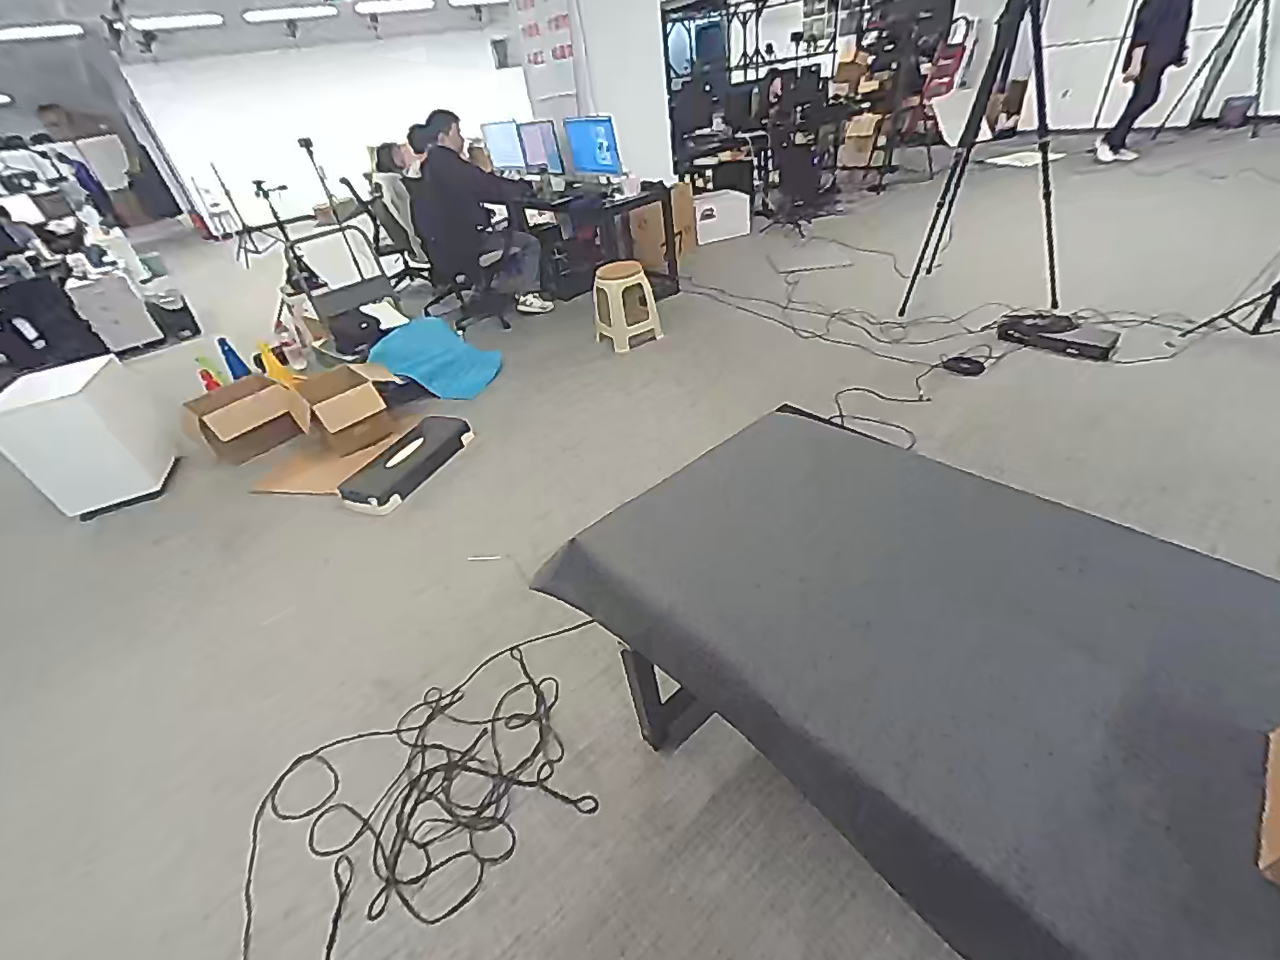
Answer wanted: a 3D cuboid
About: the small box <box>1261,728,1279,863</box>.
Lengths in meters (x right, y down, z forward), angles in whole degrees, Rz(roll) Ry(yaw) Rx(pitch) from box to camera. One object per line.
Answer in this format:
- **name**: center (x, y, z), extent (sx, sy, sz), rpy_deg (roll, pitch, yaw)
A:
- **small box**: center (0.674, 0.281, 0.445), extent (0.168, 0.176, 0.179), rpy_deg (25, 47, 36)
